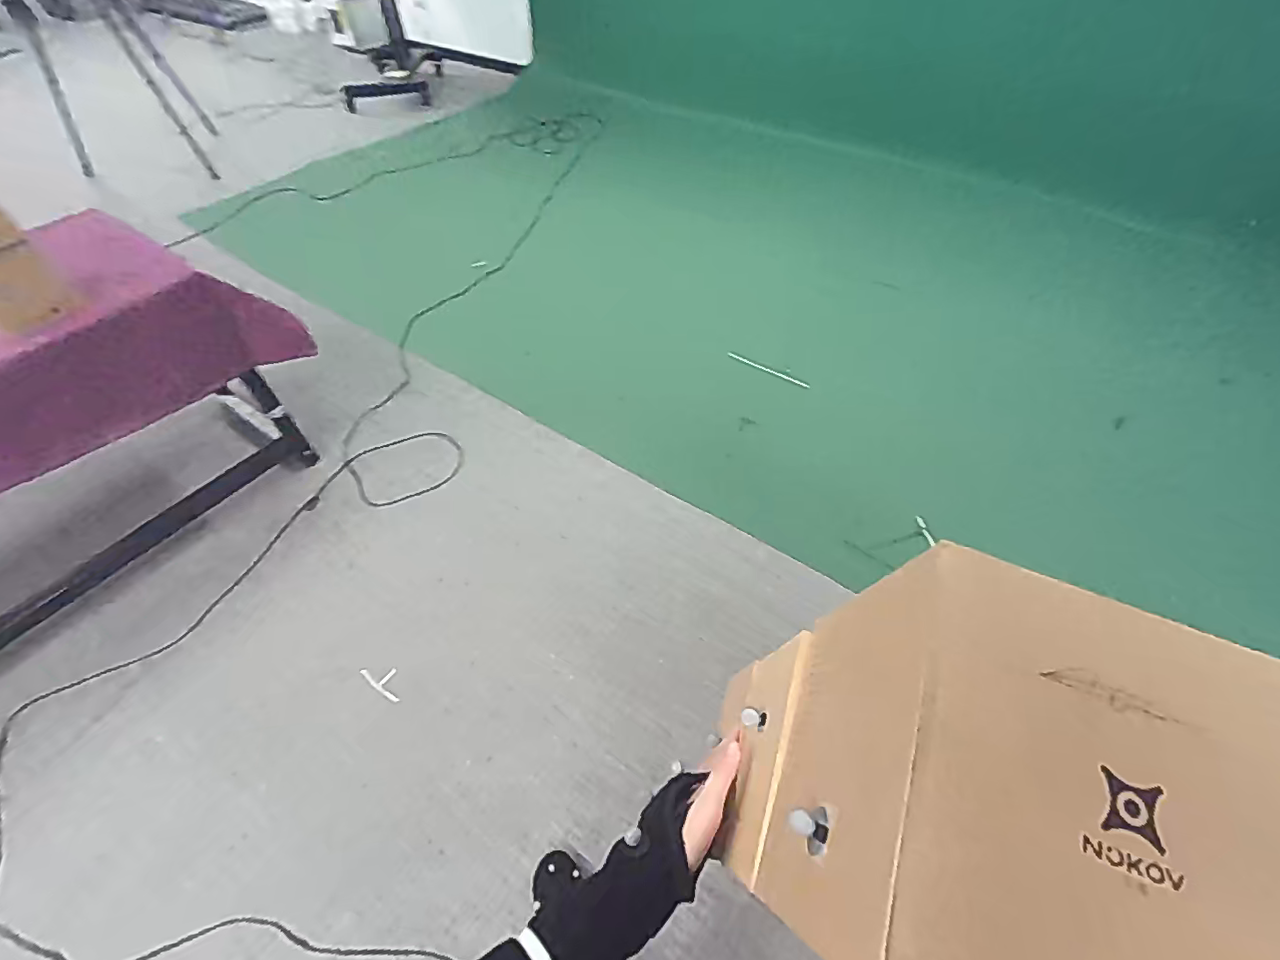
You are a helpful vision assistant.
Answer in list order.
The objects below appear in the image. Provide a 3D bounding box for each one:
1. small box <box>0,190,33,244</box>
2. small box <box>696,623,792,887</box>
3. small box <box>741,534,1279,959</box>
[{"bbox_3d":[-1.417,-0.566,1.086,0.179,0.176,0.168,24,56,18],"label":"small box"},{"bbox_3d":[0.152,0.233,0.422,0.179,0.176,0.168,18,64,6],"label":"small box"},{"bbox_3d":[0.161,0.159,0.277,0.168,0.176,0.179,20,64,6],"label":"small box"}]
